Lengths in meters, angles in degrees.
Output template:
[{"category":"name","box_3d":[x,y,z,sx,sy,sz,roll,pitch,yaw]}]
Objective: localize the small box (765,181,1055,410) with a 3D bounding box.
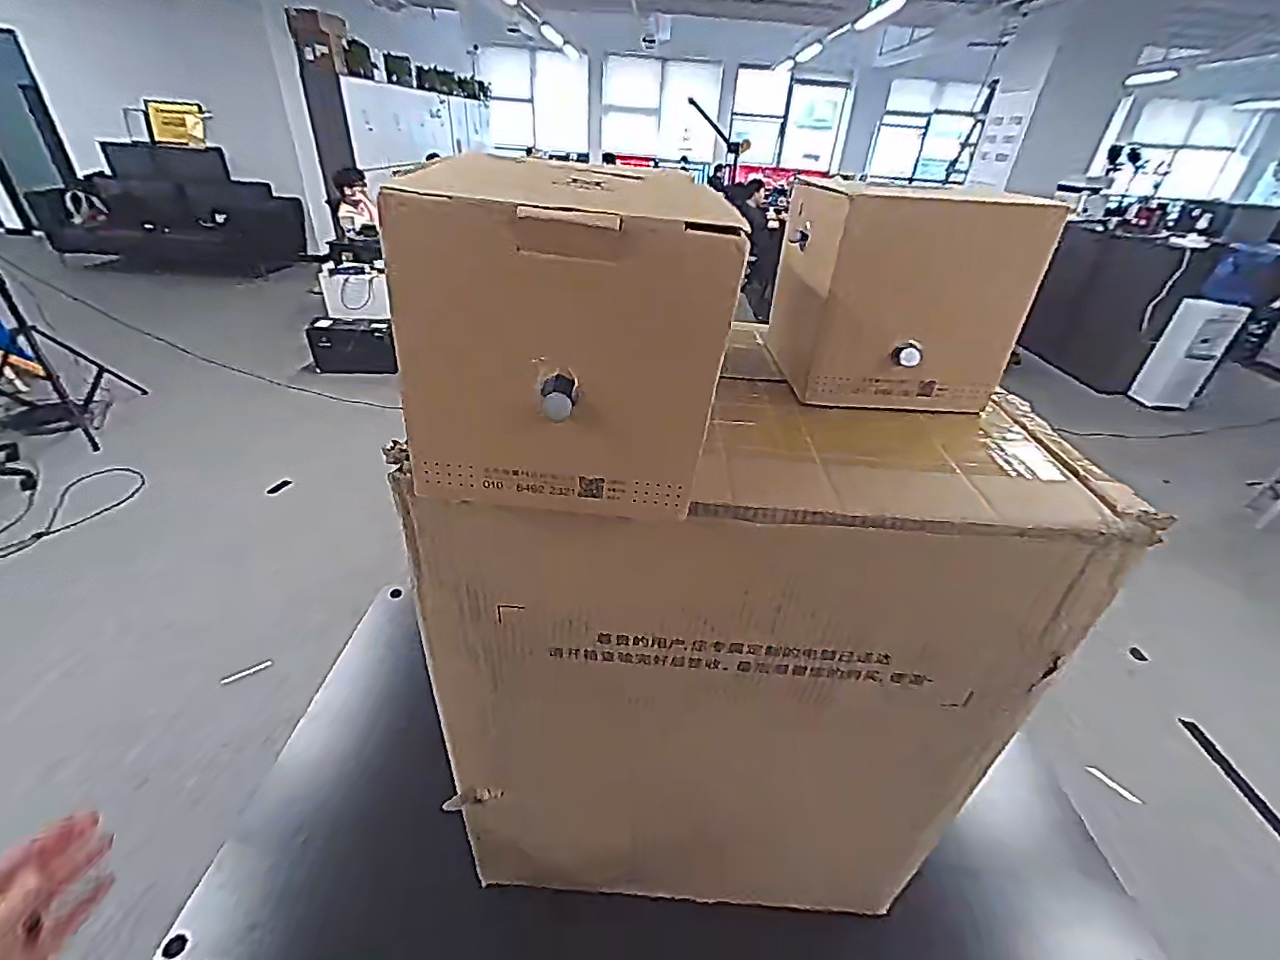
[{"category":"small box","box_3d":[0.224,-0.179,0.511,0.168,0.176,0.179,2,32,-1]}]

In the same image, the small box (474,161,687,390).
[{"category":"small box","box_3d":[-0.049,-0.200,0.519,0.168,0.176,0.179,3,32,-1]}]
